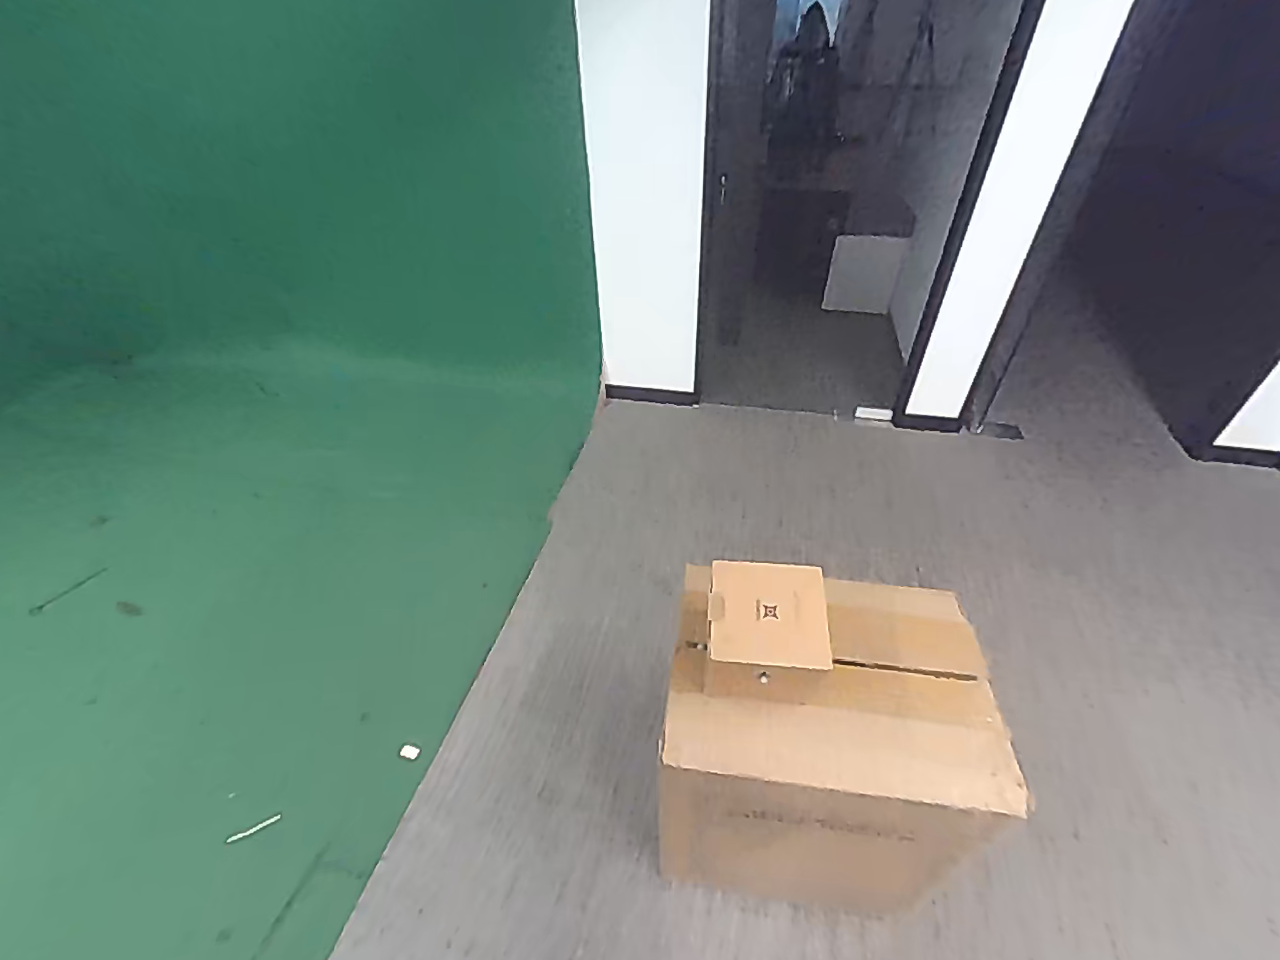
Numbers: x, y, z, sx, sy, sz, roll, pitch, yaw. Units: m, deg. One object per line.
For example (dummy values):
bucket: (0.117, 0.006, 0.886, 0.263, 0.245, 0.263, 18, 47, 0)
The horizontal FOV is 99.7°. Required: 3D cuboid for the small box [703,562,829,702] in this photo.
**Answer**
small box: (0.195, 0.251, 0.883, 0.179, 0.176, 0.168, 4, 52, 5)
